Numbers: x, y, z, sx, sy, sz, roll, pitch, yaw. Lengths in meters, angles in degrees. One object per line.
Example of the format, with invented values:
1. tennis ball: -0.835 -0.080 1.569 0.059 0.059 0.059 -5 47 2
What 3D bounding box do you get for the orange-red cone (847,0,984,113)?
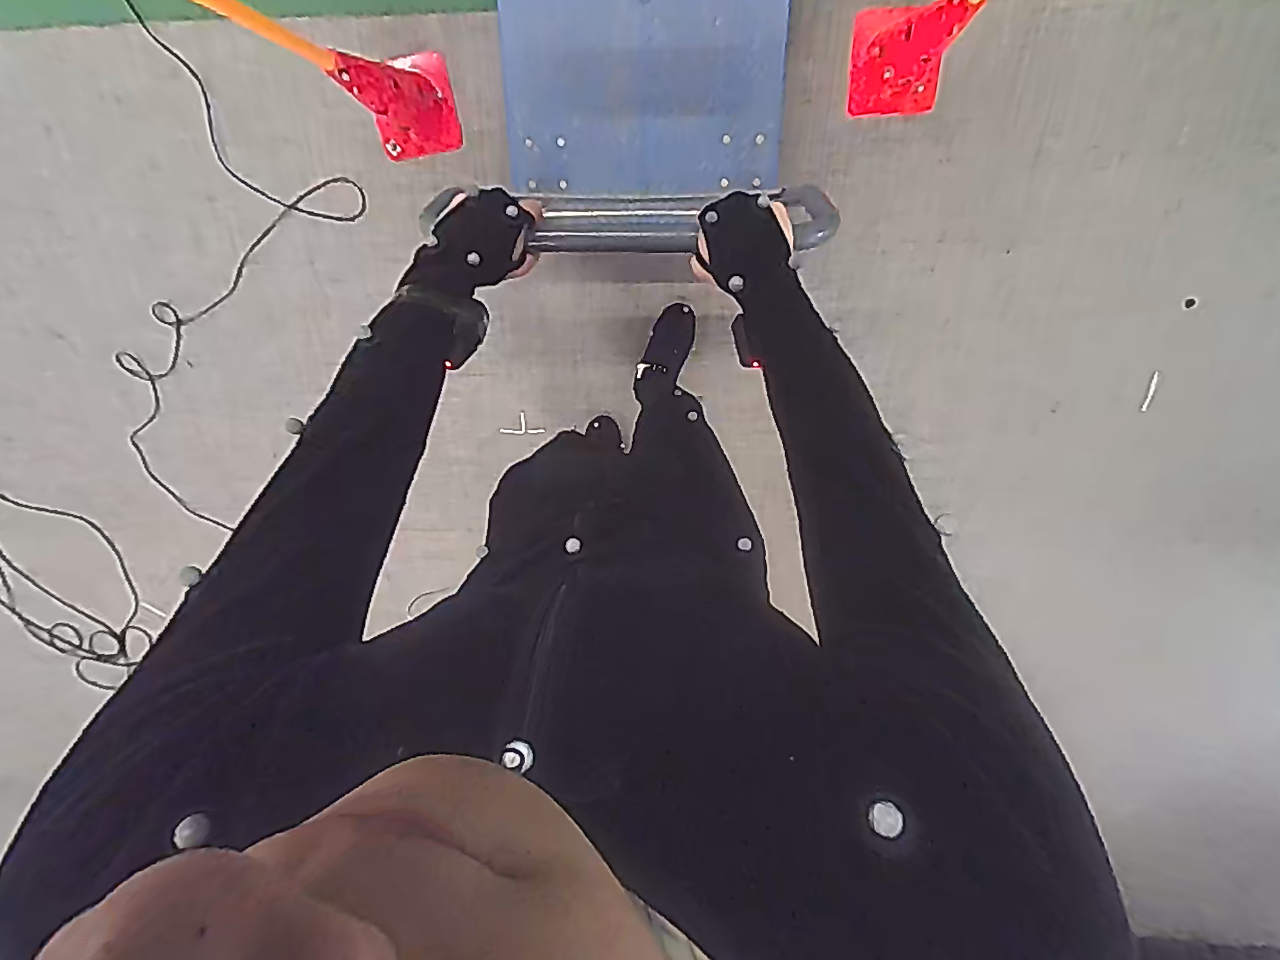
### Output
1. orange-red cone: 0.558 -0.865 1.033 0.198 0.360 0.199 0 111 2
